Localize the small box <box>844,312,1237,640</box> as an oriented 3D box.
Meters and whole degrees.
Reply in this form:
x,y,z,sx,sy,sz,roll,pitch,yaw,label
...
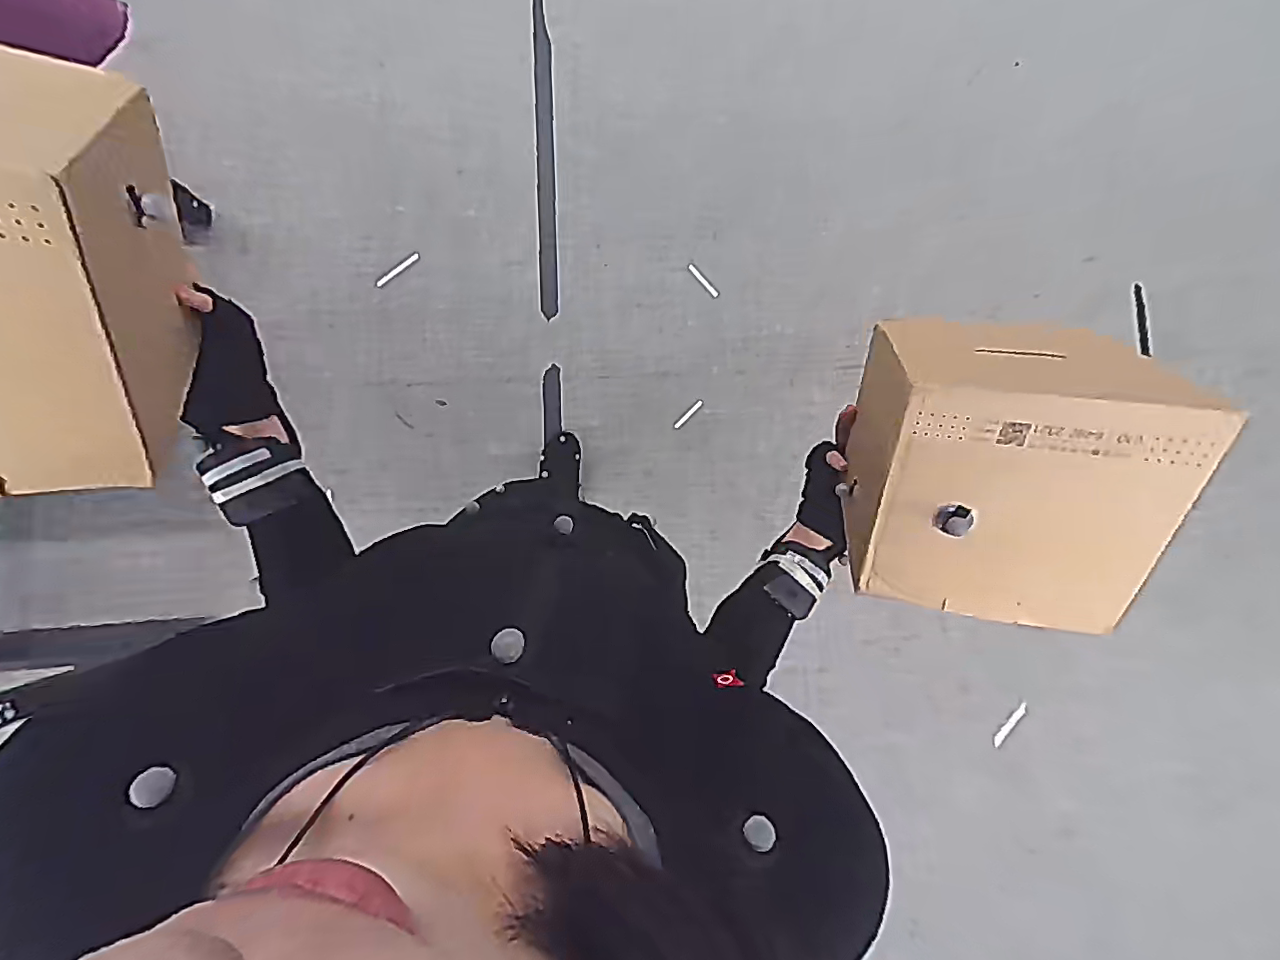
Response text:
x,y,z,sx,sy,sz,roll,pitch,yaw,label
0.258,-0.019,0.396,0.168,0.179,0.176,10,121,12,small box

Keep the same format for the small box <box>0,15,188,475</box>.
x,y,z,sx,sy,sz,roll,pitch,yaw,label
-0.347,-0.119,0.256,0.168,0.176,0.179,-2,43,-29,small box
